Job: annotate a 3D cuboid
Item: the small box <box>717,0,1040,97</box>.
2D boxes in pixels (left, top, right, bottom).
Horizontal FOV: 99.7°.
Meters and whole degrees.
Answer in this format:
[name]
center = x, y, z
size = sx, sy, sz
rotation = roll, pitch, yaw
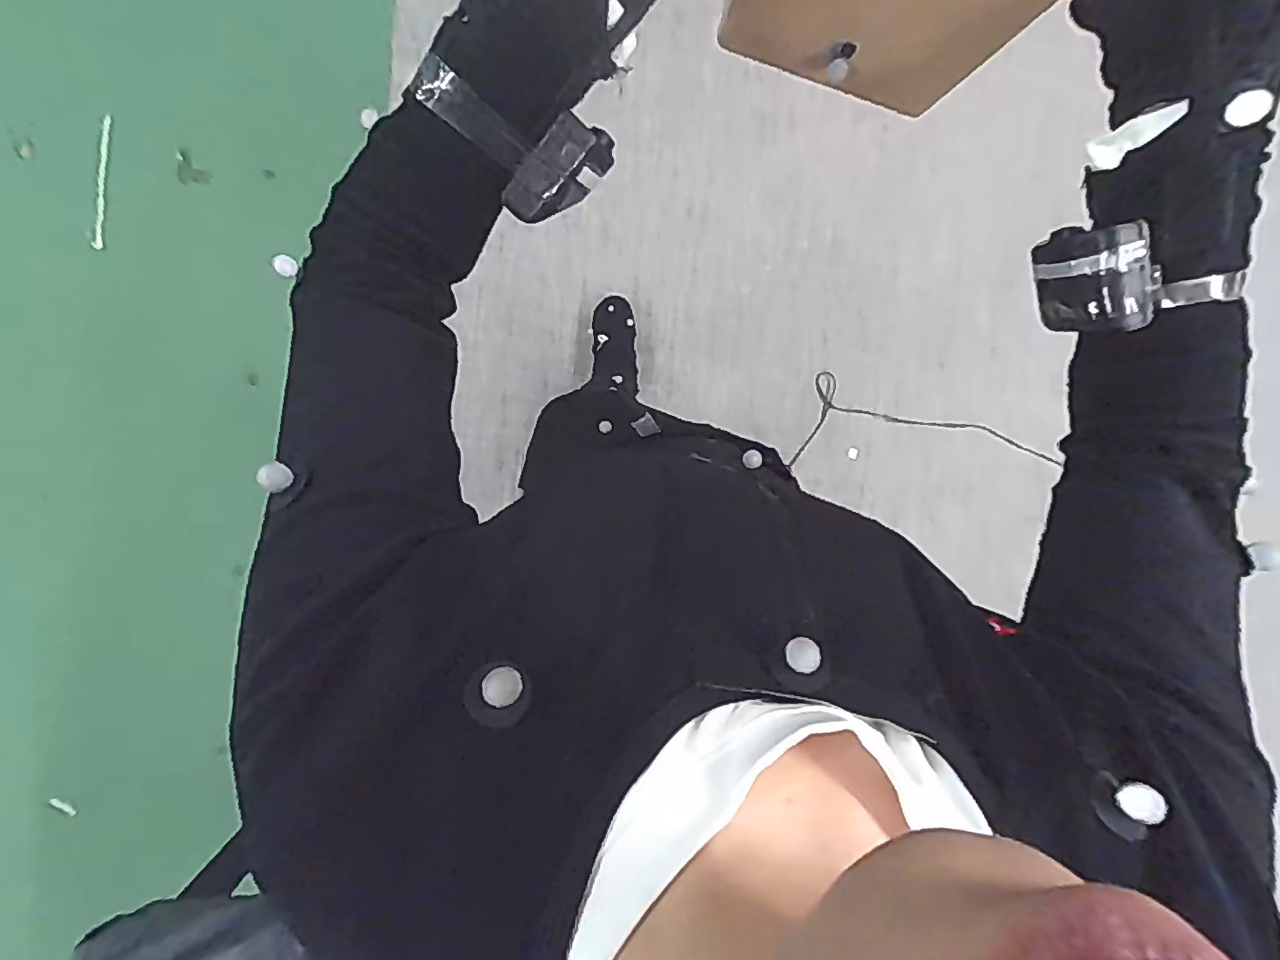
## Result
[small box]
center = 0.168, -0.382, 0.334
size = 0.179, 0.176, 0.168
rotation = 13, 96, -9
